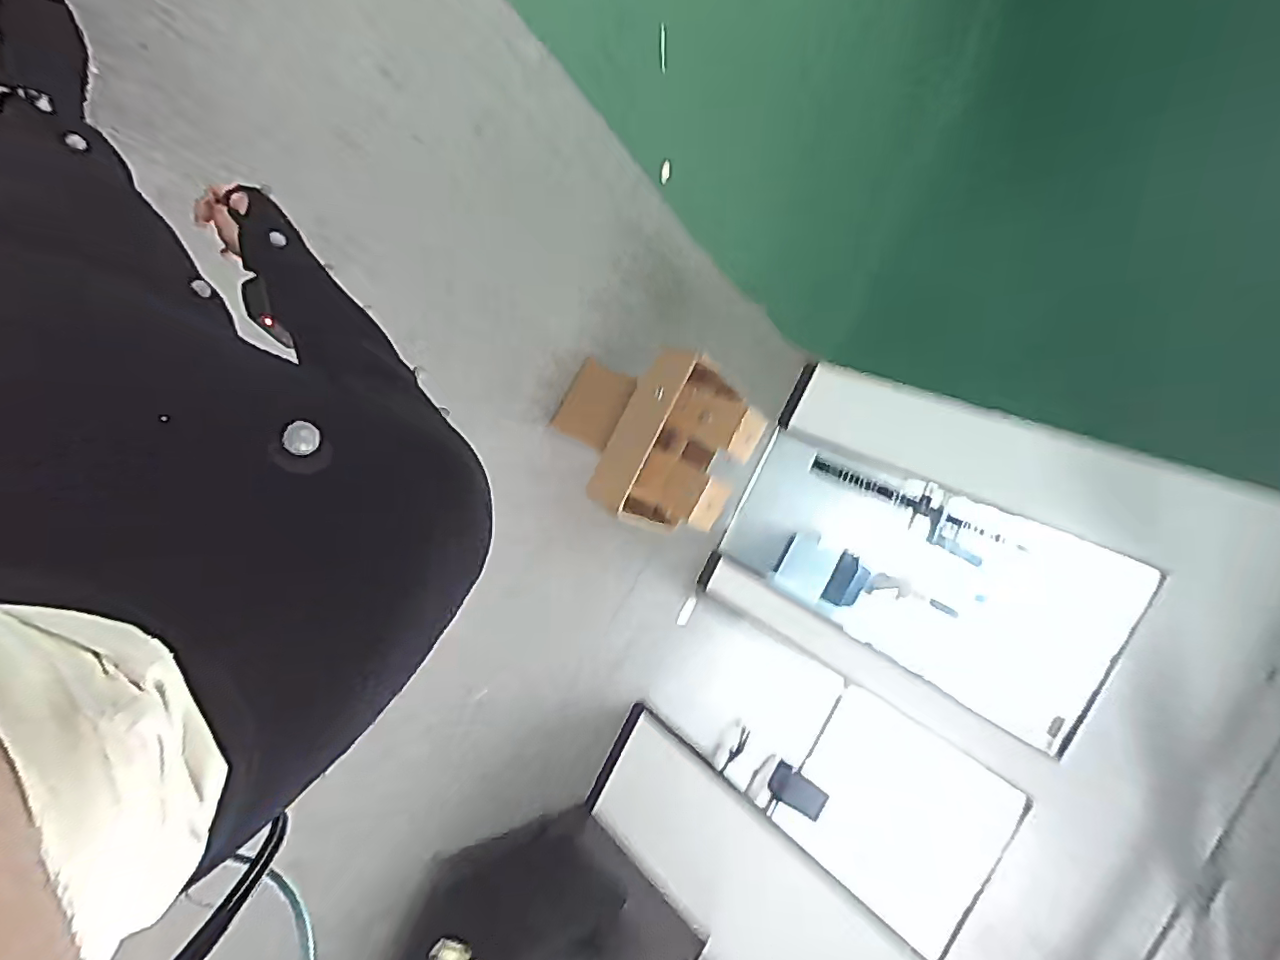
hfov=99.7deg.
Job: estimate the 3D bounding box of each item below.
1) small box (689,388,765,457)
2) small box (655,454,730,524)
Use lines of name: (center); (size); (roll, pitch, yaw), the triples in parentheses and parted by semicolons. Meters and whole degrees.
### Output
small box: (0.302, -0.204, 1.883); (0.179, 0.176, 0.168); (22, 96, -55)
small box: (0.181, 0.028, 1.900); (0.168, 0.176, 0.179); (25, 94, -53)
